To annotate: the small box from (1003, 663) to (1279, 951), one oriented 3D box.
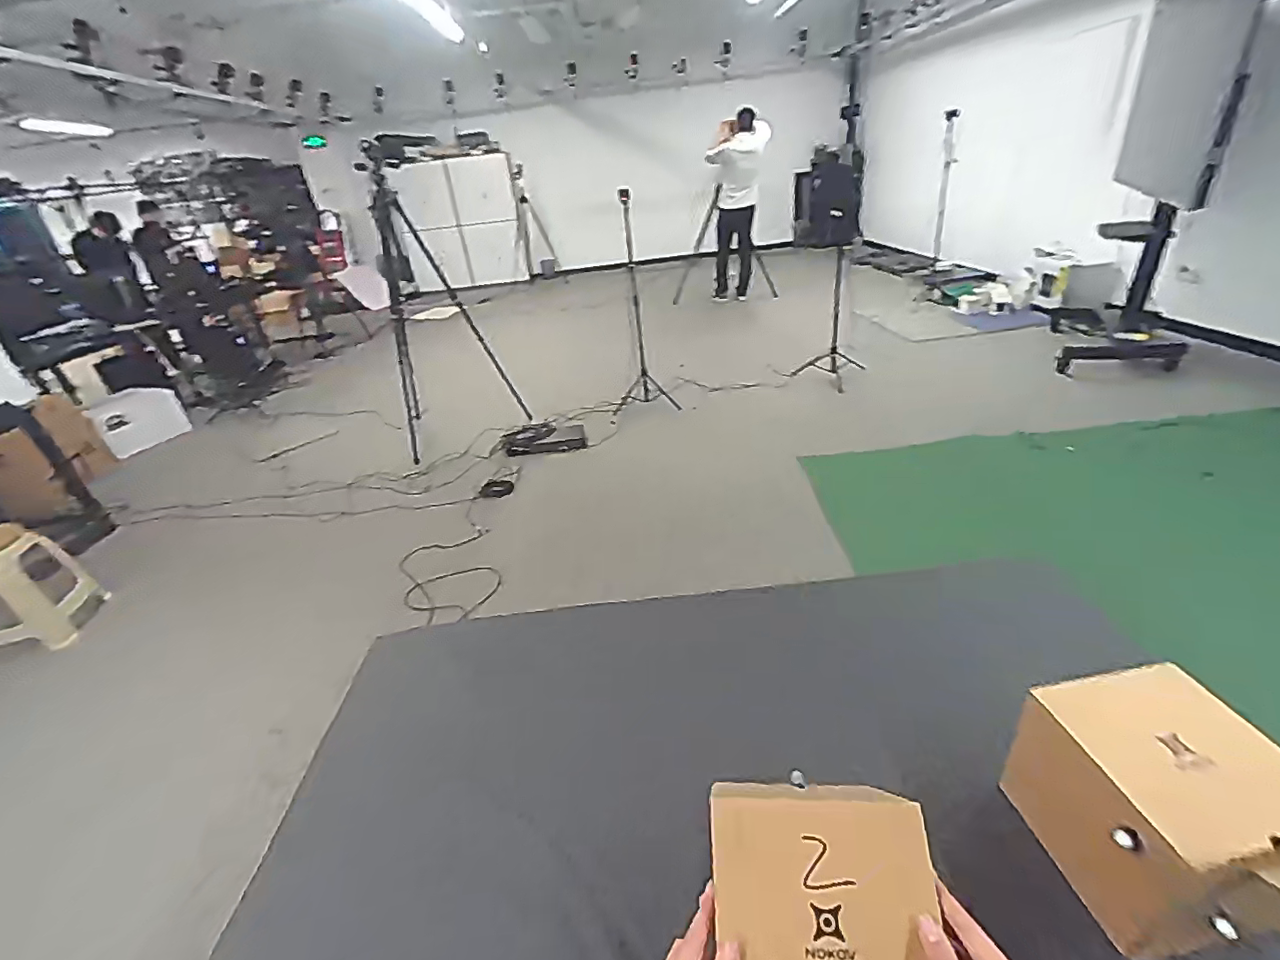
[{"bbox_3d":[0.510,0.319,0.543,0.168,0.176,0.179,-9,30,-3],"label":"small box"}]
